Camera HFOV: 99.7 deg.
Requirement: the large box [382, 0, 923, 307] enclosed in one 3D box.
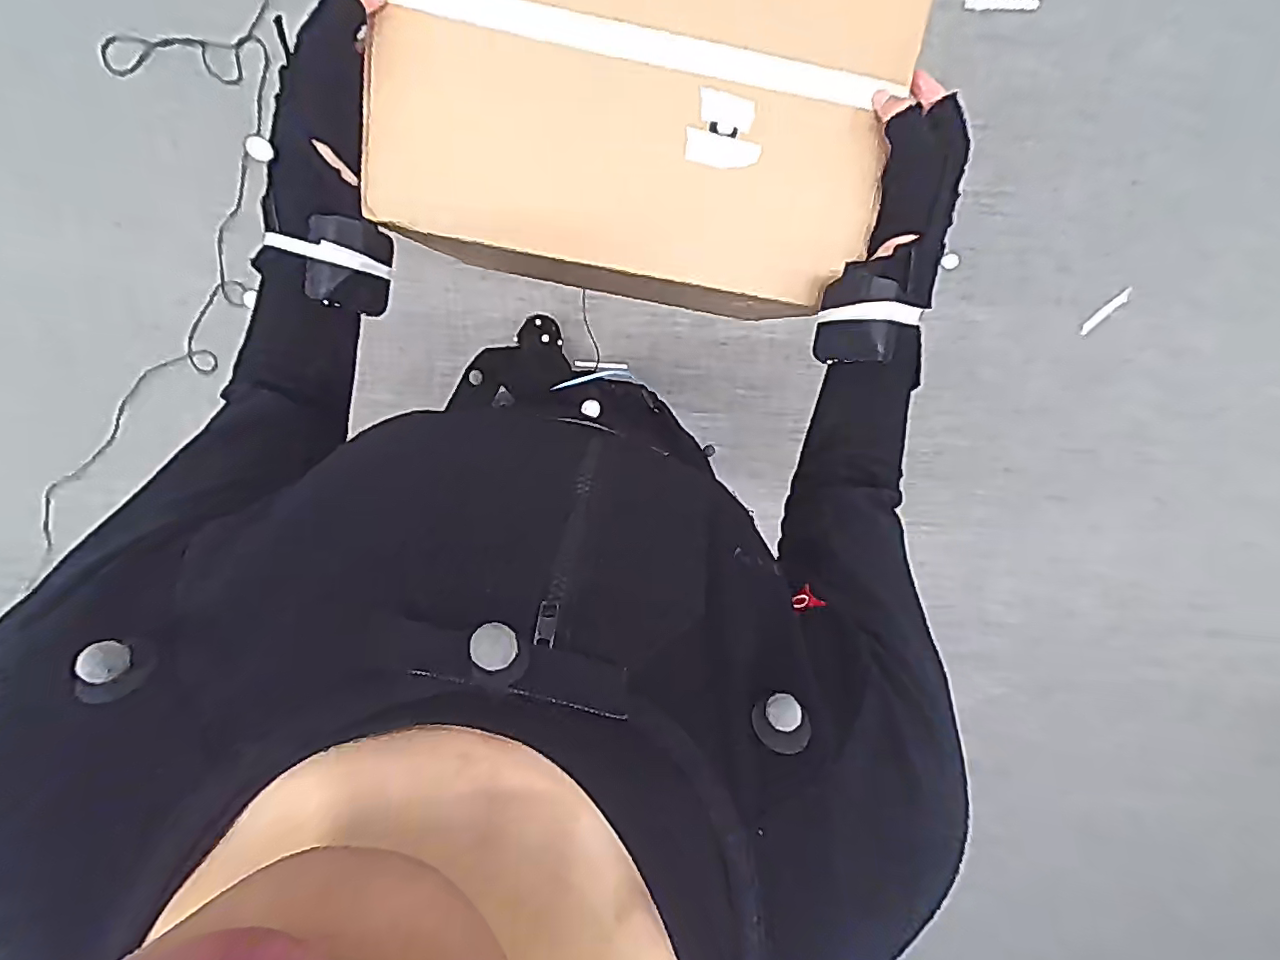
[{"bbox_3d":[0.001,-0.373,0.556,0.408,0.320,0.320,9,106,-6],"label":"large box"}]
